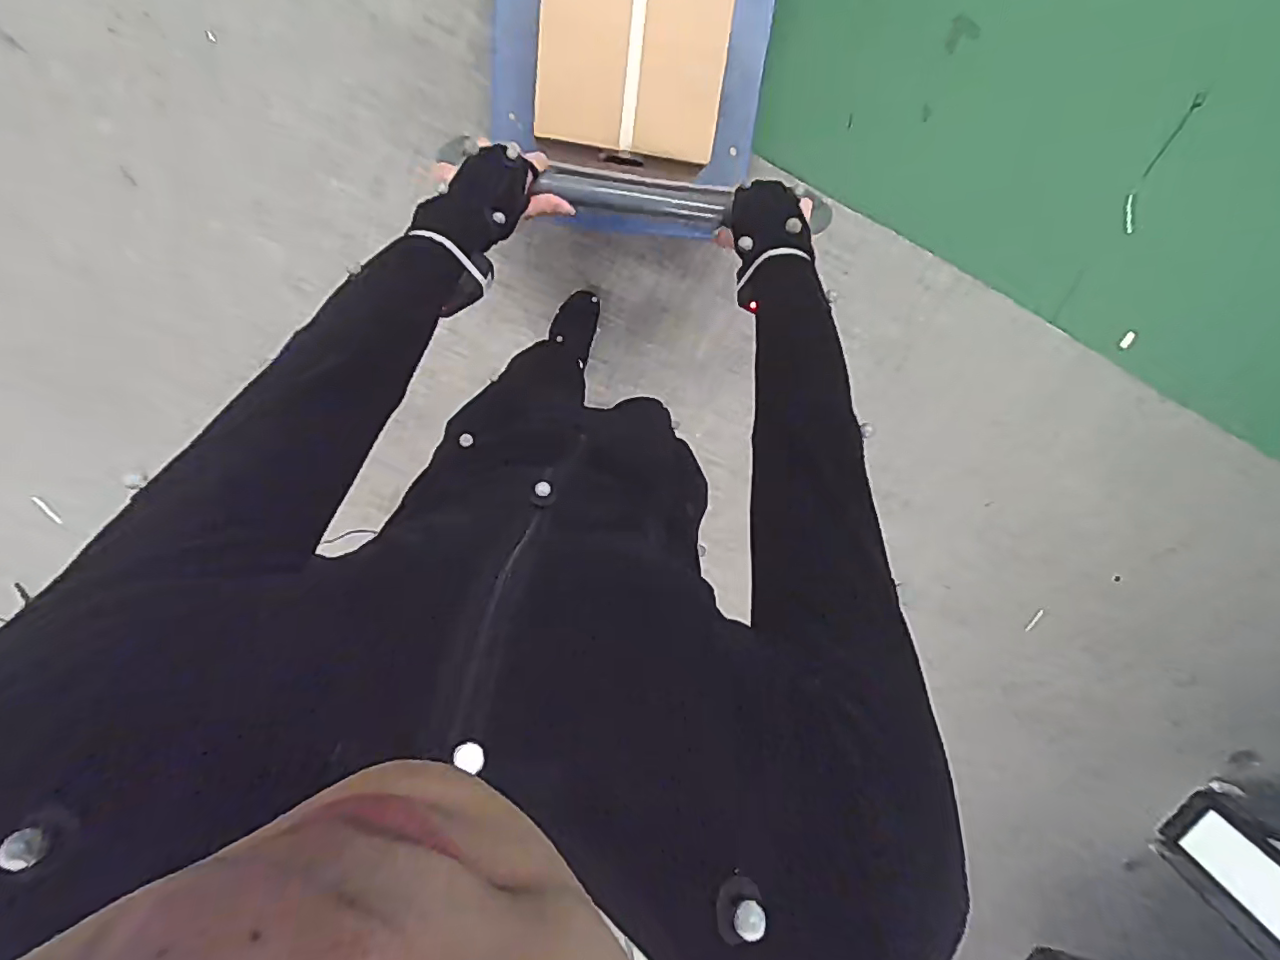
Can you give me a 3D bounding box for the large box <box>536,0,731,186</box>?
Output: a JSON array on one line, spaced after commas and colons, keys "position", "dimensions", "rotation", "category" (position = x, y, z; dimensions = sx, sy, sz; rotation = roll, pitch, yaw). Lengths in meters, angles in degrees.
[{"position": [-0.016, -0.822, 1.027], "dimensions": [0.320, 0.320, 0.408], "rotation": [5, 109, -7], "category": "large box"}]
